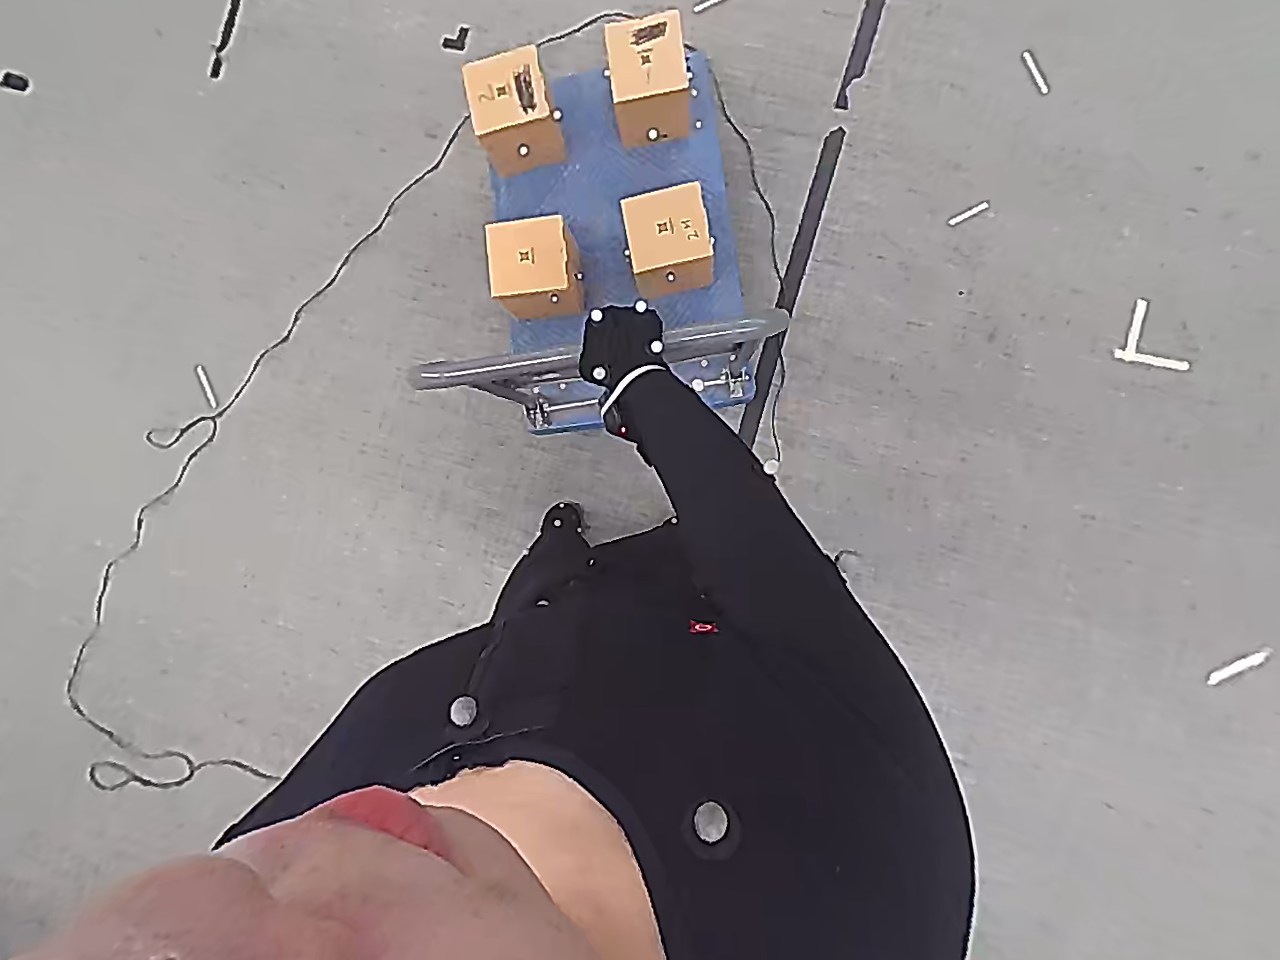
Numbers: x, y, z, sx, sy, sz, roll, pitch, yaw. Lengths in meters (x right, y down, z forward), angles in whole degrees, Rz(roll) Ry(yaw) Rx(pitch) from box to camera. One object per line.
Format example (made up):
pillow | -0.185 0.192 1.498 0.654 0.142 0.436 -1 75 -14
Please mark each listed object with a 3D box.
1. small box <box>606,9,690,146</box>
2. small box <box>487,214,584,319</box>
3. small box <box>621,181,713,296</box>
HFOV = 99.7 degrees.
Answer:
small box | 0.022 -0.908 1.234 0.168 0.176 0.179 -8 90 6
small box | -0.238 -0.487 1.258 0.179 0.176 0.168 -6 88 4
small box | 0.066 -0.535 1.226 0.179 0.176 0.168 -11 89 6
